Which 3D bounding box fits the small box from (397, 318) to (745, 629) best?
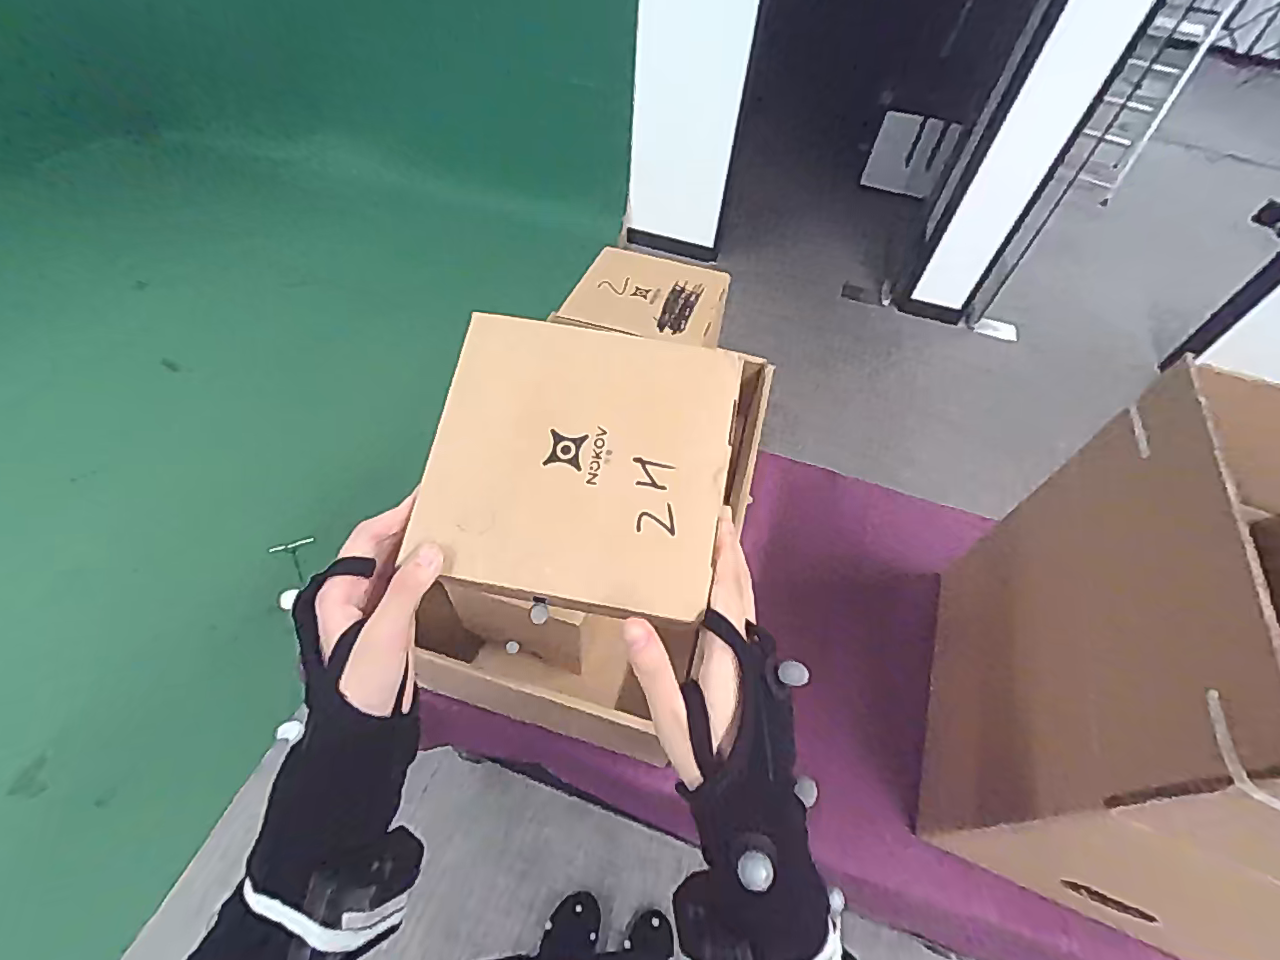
[{"bbox_3d":[-0.035,0.010,0.394,0.179,0.176,0.168,11,76,3],"label":"small box"}]
